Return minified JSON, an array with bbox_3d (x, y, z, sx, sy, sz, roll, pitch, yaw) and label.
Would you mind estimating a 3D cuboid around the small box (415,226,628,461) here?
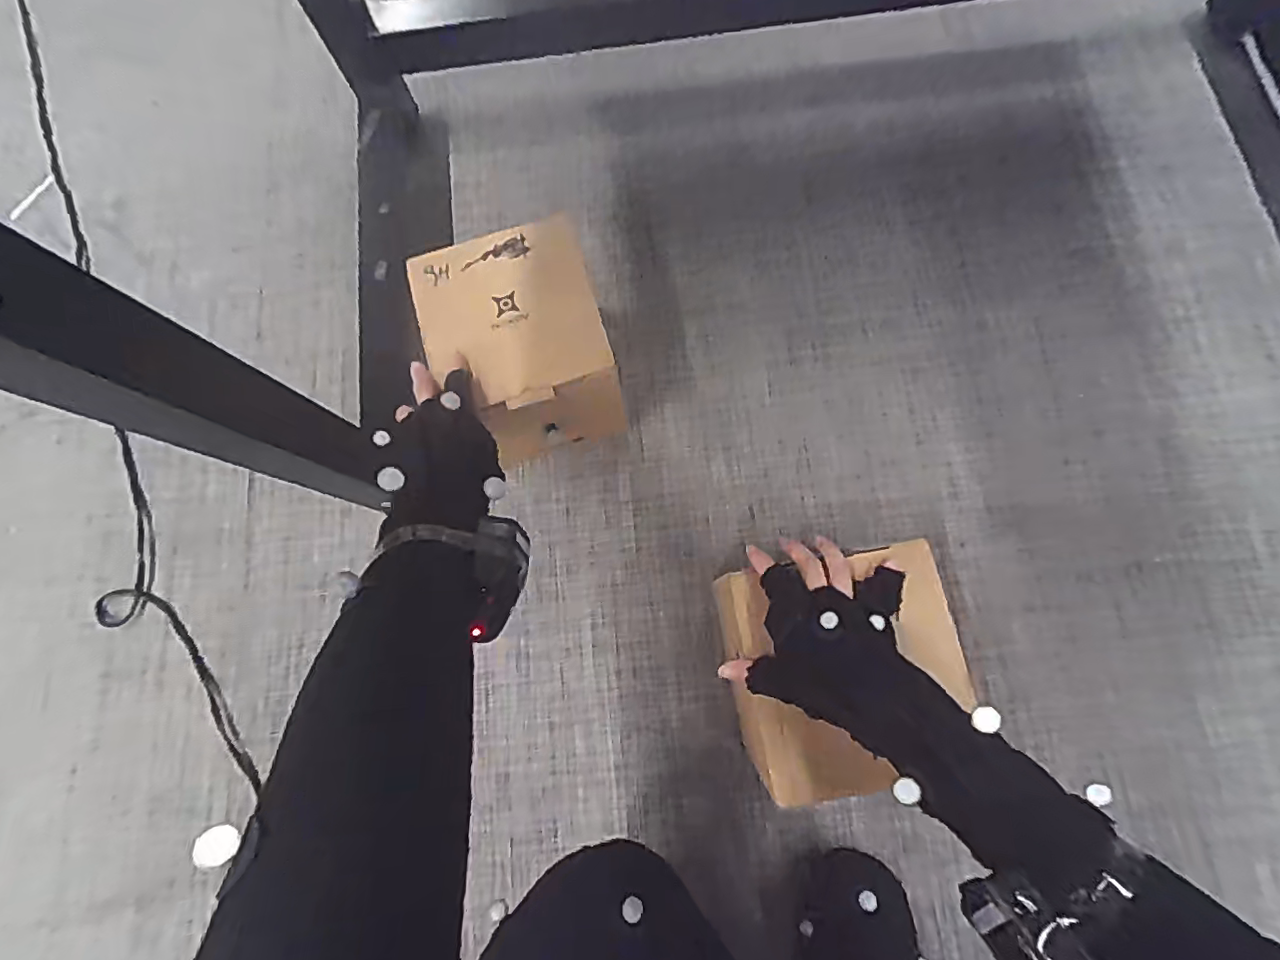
[{"bbox_3d":[-0.114,-0.130,0.586,0.168,0.176,0.179,-16,77,-1],"label":"small box"}]
